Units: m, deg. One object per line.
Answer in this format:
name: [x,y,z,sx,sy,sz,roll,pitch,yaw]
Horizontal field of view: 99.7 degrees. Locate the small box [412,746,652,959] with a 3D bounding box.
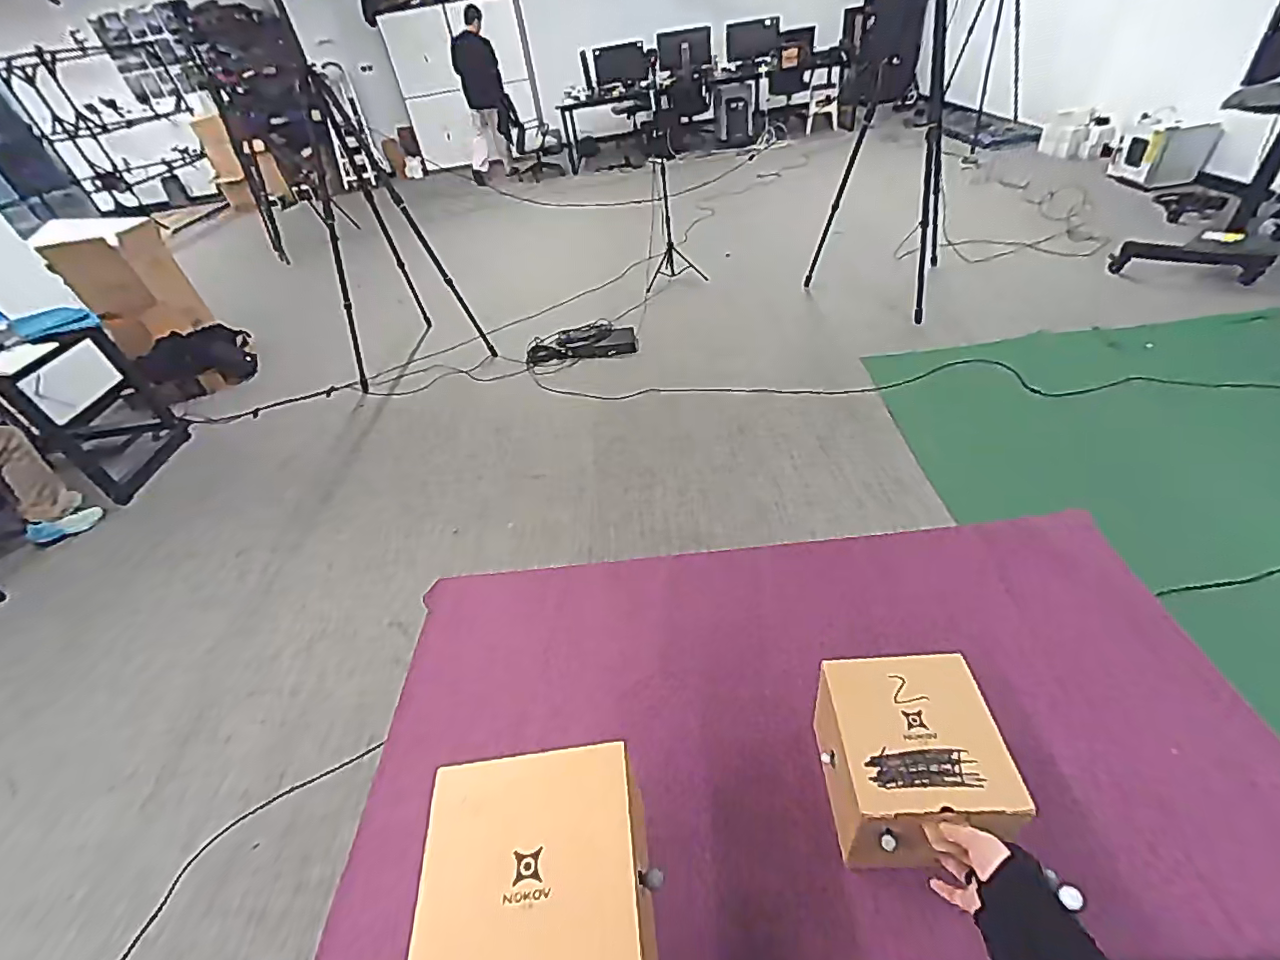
small box: [-0.081,0.365,0.477,0.168,0.176,0.179,-8,44,-1]
